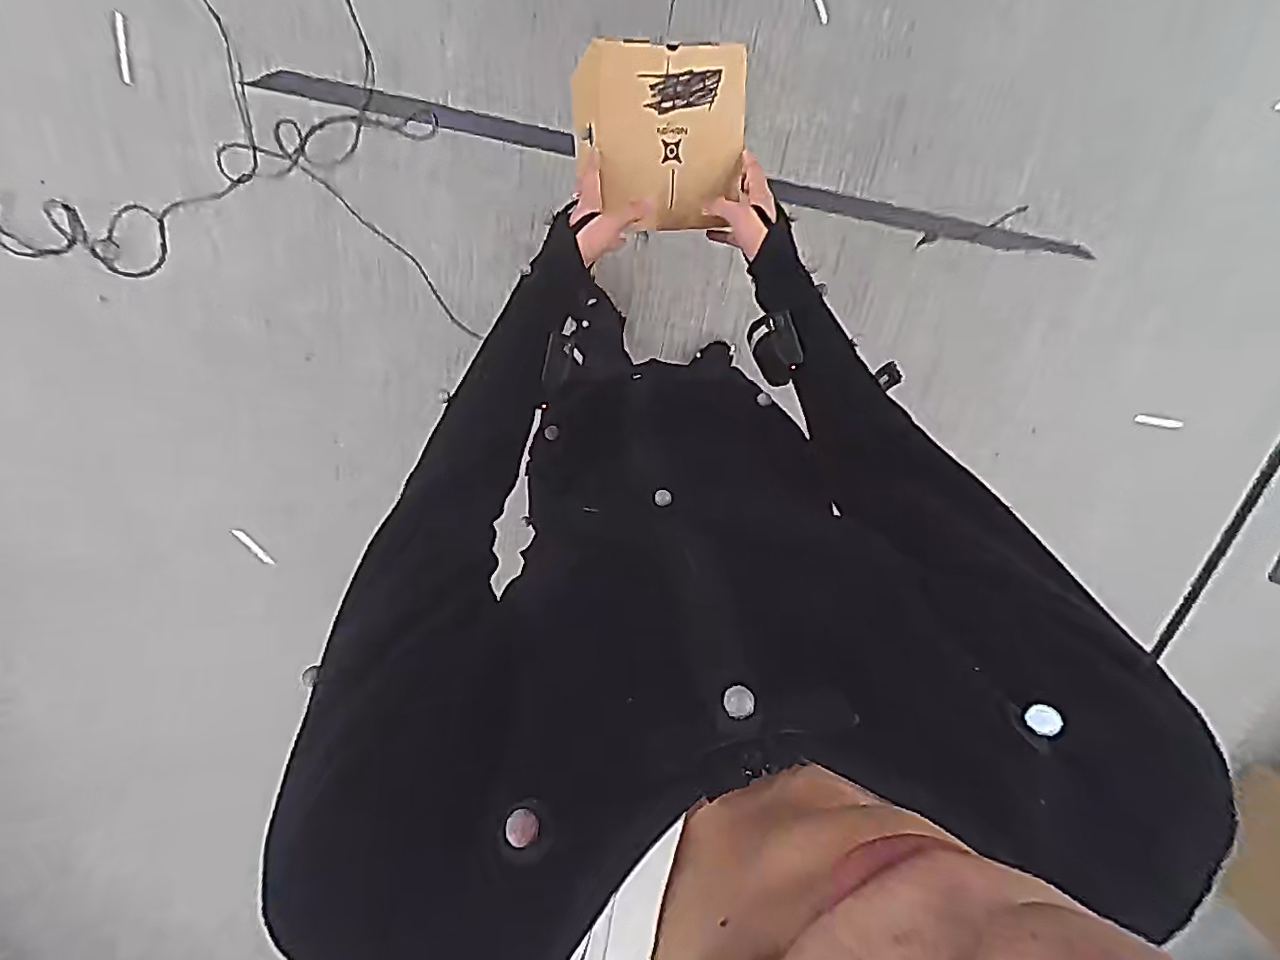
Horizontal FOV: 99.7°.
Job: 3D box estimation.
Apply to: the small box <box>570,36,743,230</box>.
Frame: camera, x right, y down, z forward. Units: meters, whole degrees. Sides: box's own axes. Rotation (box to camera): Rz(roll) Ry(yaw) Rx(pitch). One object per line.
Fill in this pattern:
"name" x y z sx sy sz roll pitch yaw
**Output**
"small box" 0.011 -0.400 0.652 0.168 0.176 0.179 -7 117 -11
